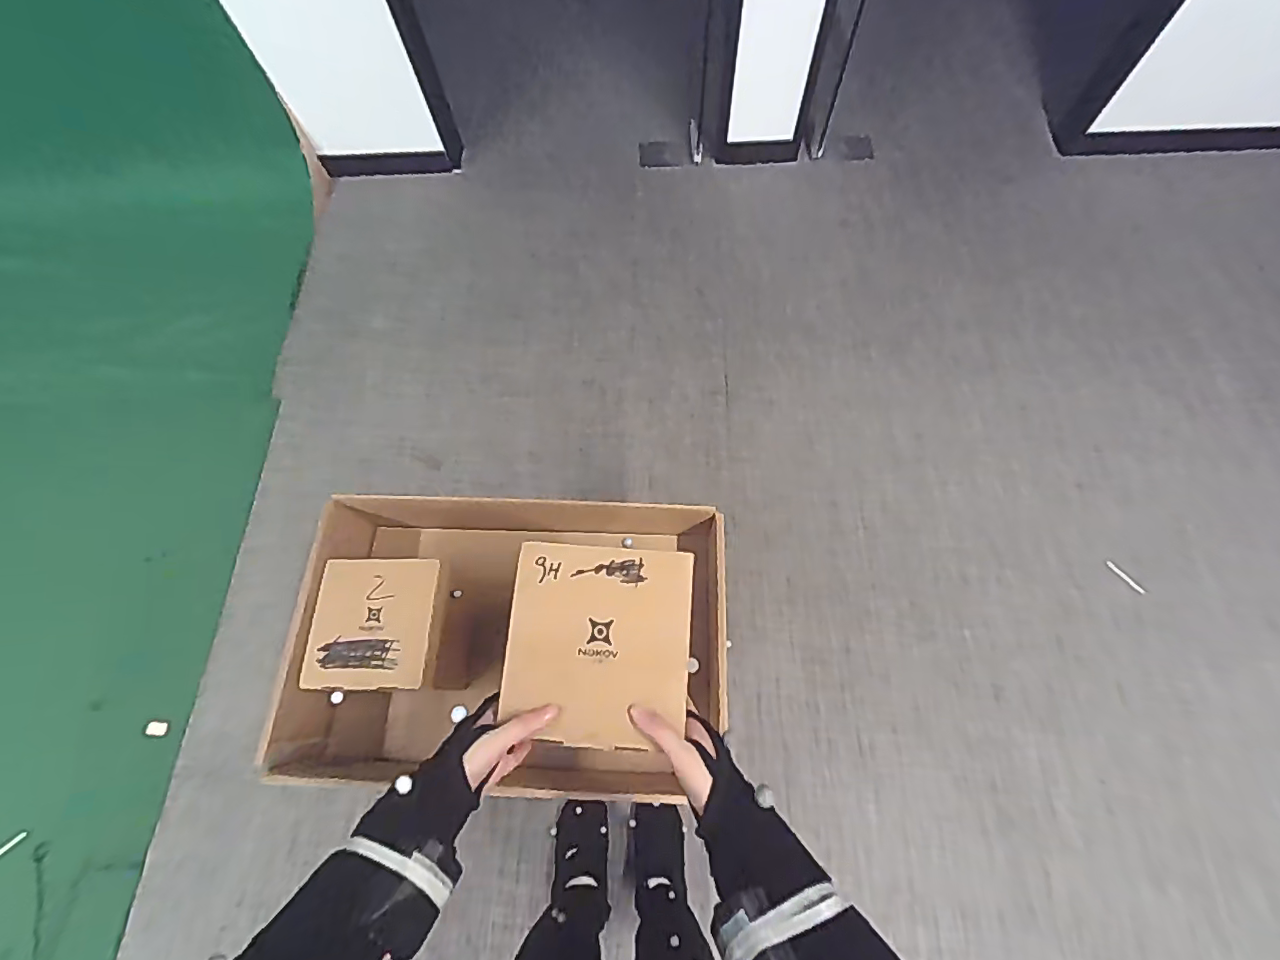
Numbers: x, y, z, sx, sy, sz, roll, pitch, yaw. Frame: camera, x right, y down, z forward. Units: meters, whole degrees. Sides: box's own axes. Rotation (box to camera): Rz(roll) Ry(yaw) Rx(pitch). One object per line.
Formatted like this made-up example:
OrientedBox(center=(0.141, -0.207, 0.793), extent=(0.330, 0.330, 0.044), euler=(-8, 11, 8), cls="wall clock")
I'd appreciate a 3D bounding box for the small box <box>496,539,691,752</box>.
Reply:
OrientedBox(center=(-0.036, 0.167, 0.568), extent=(0.168, 0.176, 0.179), euler=(4, 74, 3), cls="small box")
